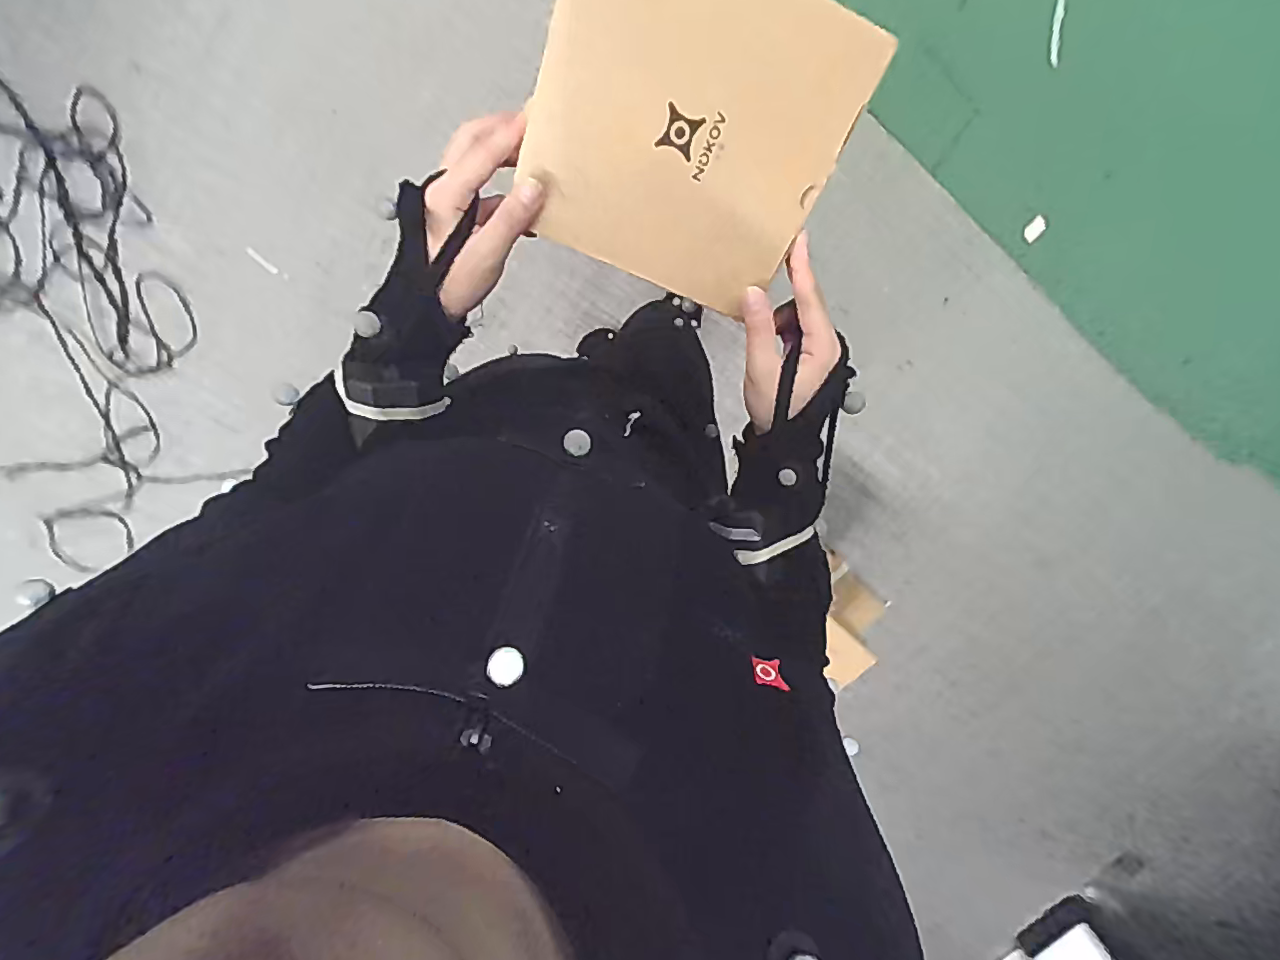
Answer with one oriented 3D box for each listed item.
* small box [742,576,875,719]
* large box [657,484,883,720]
[{"bbox_3d":[0.326,0.331,1.092,0.168,0.176,0.179,41,101,-16],"label":"small box"},{"bbox_3d":[0.291,0.285,1.332,0.320,0.320,0.408,41,103,-14],"label":"large box"}]
